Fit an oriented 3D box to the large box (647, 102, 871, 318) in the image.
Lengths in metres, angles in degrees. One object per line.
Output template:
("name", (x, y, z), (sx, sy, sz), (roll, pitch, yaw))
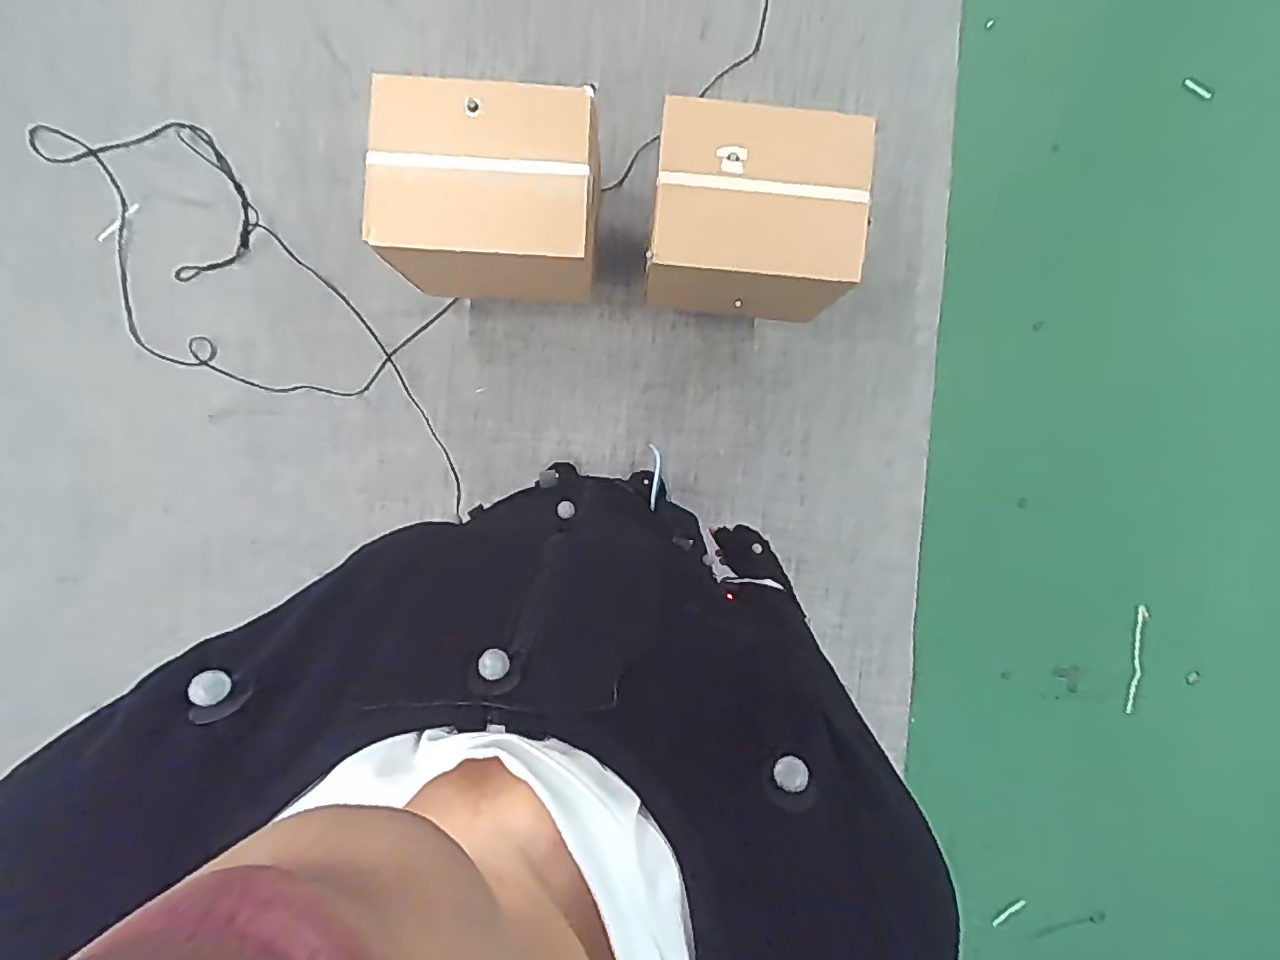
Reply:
("large box", (0.231, -0.555, 1.179), (0.408, 0.320, 0.320), (5, 92, -2))
